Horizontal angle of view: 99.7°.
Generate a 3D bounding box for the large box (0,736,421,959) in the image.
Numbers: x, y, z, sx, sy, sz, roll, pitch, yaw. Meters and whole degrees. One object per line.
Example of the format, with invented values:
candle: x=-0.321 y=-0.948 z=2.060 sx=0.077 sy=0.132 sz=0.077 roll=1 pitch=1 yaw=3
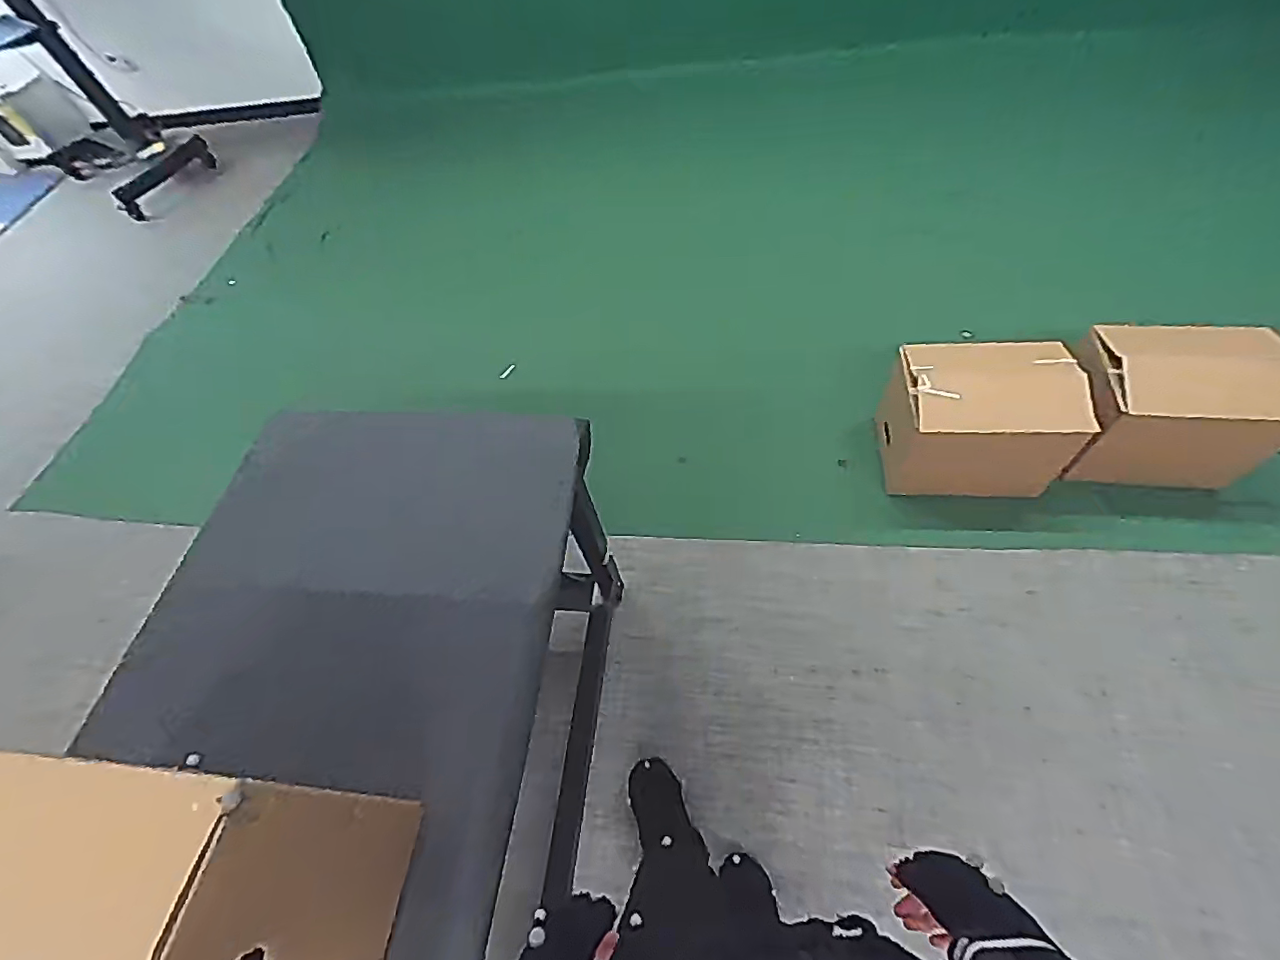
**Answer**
large box: x=-0.487 y=0.425 z=0.480 sx=0.408 sy=0.320 sz=0.320 roll=1 pitch=58 yaw=8
